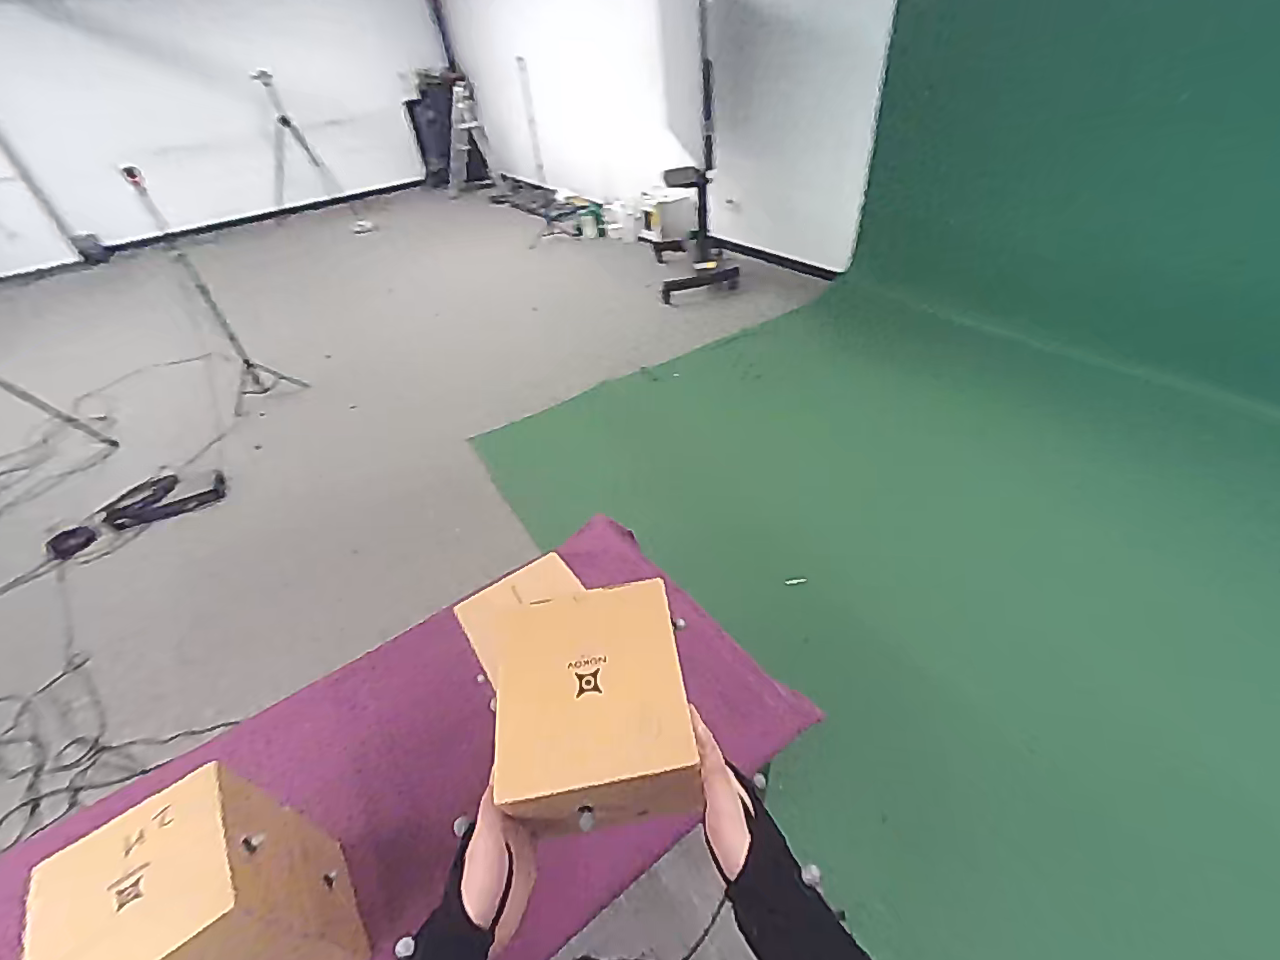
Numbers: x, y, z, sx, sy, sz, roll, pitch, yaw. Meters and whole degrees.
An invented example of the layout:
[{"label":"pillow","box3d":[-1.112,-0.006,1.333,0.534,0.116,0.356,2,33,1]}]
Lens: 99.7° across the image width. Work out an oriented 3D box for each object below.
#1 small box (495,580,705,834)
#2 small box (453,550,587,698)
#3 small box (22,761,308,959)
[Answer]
[{"label":"small box","box3d":[-0.033,0.228,0.531,0.168,0.176,0.179,-11,47,0]},{"label":"small box","box3d":[-0.138,0.241,0.779,0.168,0.176,0.179,-28,42,-21]},{"label":"small box","box3d":[-0.488,0.453,0.577,0.168,0.176,0.179,-29,45,-25]}]
